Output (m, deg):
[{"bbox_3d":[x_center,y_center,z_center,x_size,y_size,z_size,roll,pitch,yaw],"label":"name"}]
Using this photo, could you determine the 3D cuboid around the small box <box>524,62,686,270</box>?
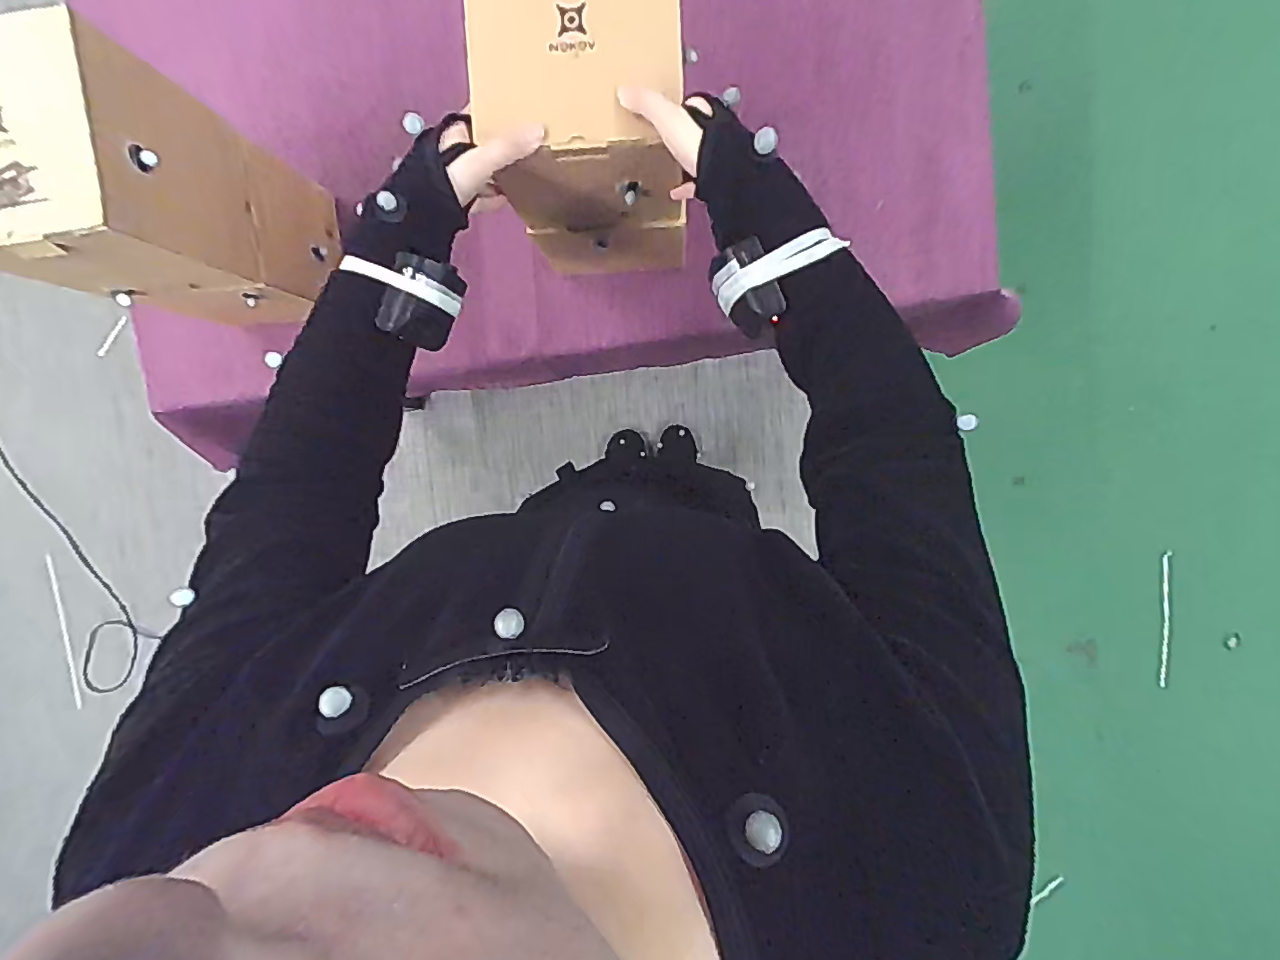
[{"bbox_3d":[-0.034,-0.361,0.653,0.179,0.176,0.168,-1,97,4],"label":"small box"}]

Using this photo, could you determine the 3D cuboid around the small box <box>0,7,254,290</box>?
[{"bbox_3d":[-0.520,-0.296,0.528,0.168,0.176,0.179,-6,94,3],"label":"small box"}]

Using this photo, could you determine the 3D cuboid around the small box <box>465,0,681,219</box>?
[{"bbox_3d":[-0.047,-0.353,0.491,0.168,0.176,0.179,-1,95,4],"label":"small box"}]

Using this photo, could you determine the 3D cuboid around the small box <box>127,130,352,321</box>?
[{"bbox_3d":[-0.508,-0.308,0.692,0.179,0.176,0.168,-5,95,4],"label":"small box"}]
